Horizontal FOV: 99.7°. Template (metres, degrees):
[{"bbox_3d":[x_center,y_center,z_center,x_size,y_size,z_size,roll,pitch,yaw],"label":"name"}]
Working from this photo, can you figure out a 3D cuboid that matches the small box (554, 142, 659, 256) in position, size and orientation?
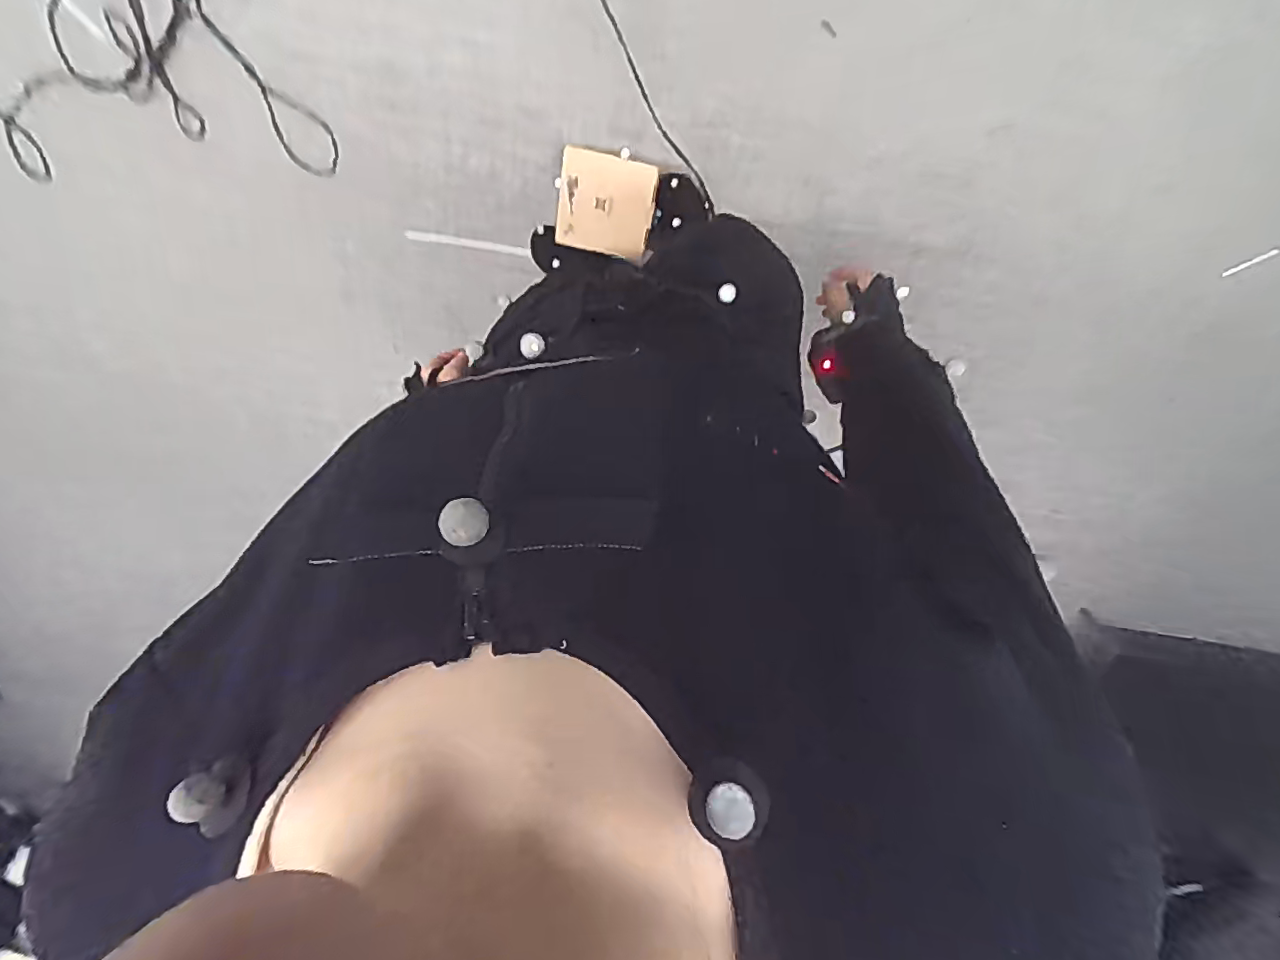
[{"bbox_3d":[-0.062,-0.559,1.071,0.179,0.176,0.168,10,122,-3],"label":"small box"}]
